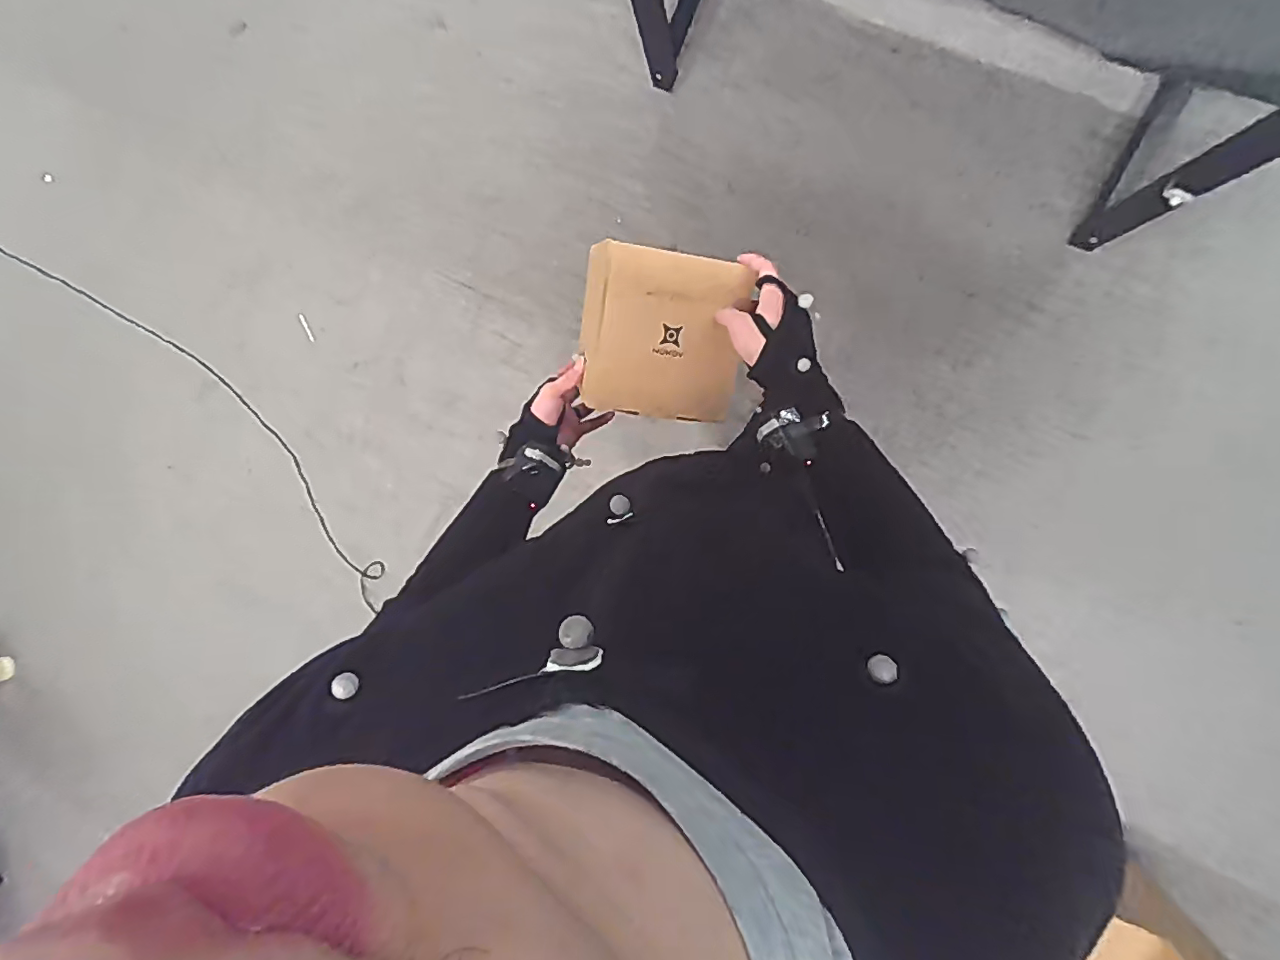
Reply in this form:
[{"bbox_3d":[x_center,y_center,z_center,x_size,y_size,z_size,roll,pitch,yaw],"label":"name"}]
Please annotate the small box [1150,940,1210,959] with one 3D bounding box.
[{"bbox_3d":[1.145,1.091,1.076,0.168,0.176,0.179,23,95,6],"label":"small box"}]
